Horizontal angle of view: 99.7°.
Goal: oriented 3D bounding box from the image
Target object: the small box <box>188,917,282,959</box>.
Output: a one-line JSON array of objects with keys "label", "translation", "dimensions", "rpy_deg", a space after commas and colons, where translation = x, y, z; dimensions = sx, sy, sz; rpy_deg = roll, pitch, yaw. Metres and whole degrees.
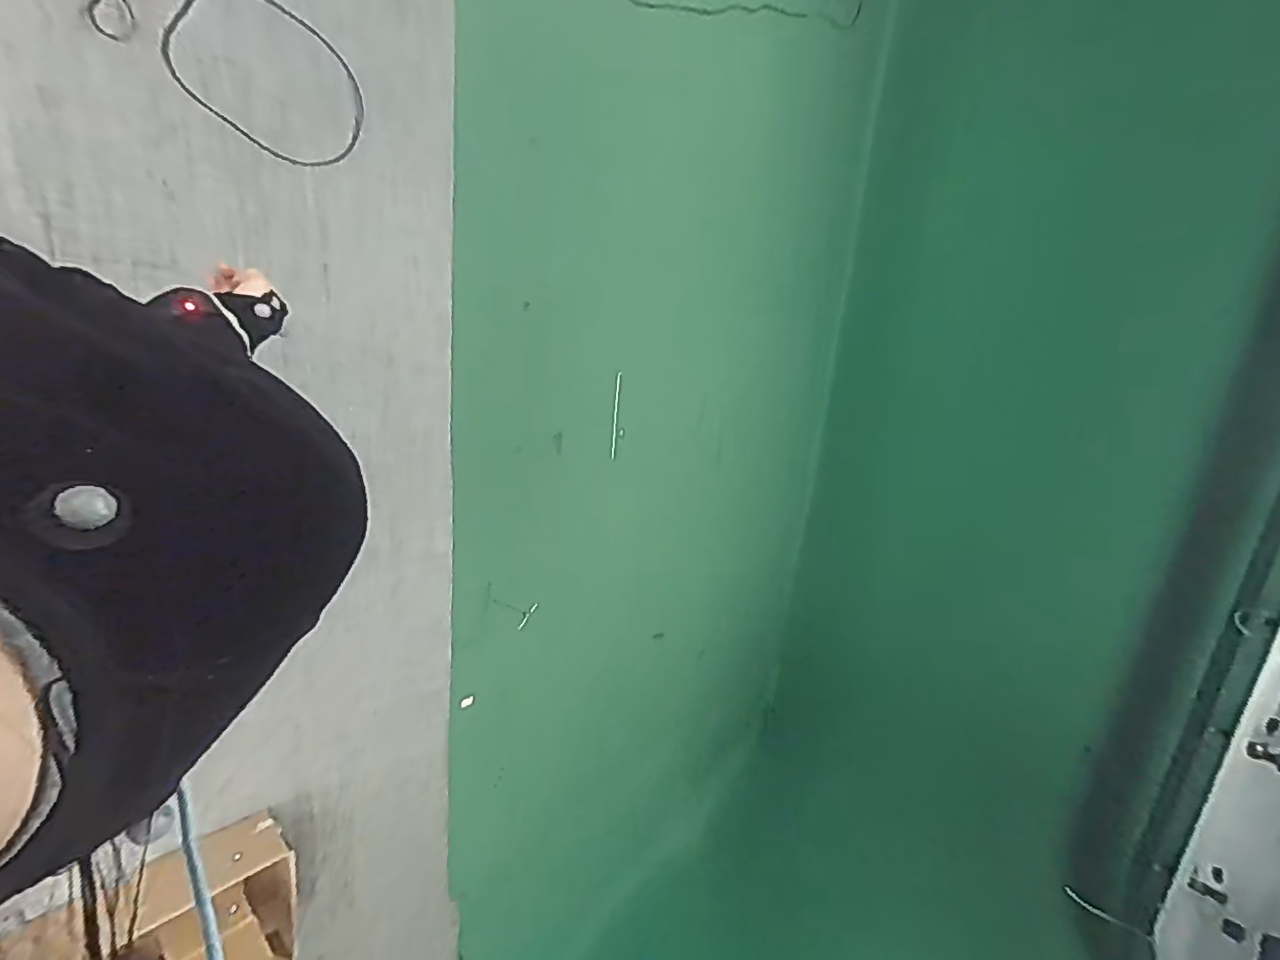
[{"label": "small box", "translation": [-0.956, 1.198, 1.270], "dimensions": [0.179, 0.176, 0.168], "rpy_deg": [-12, 111, -47]}]
